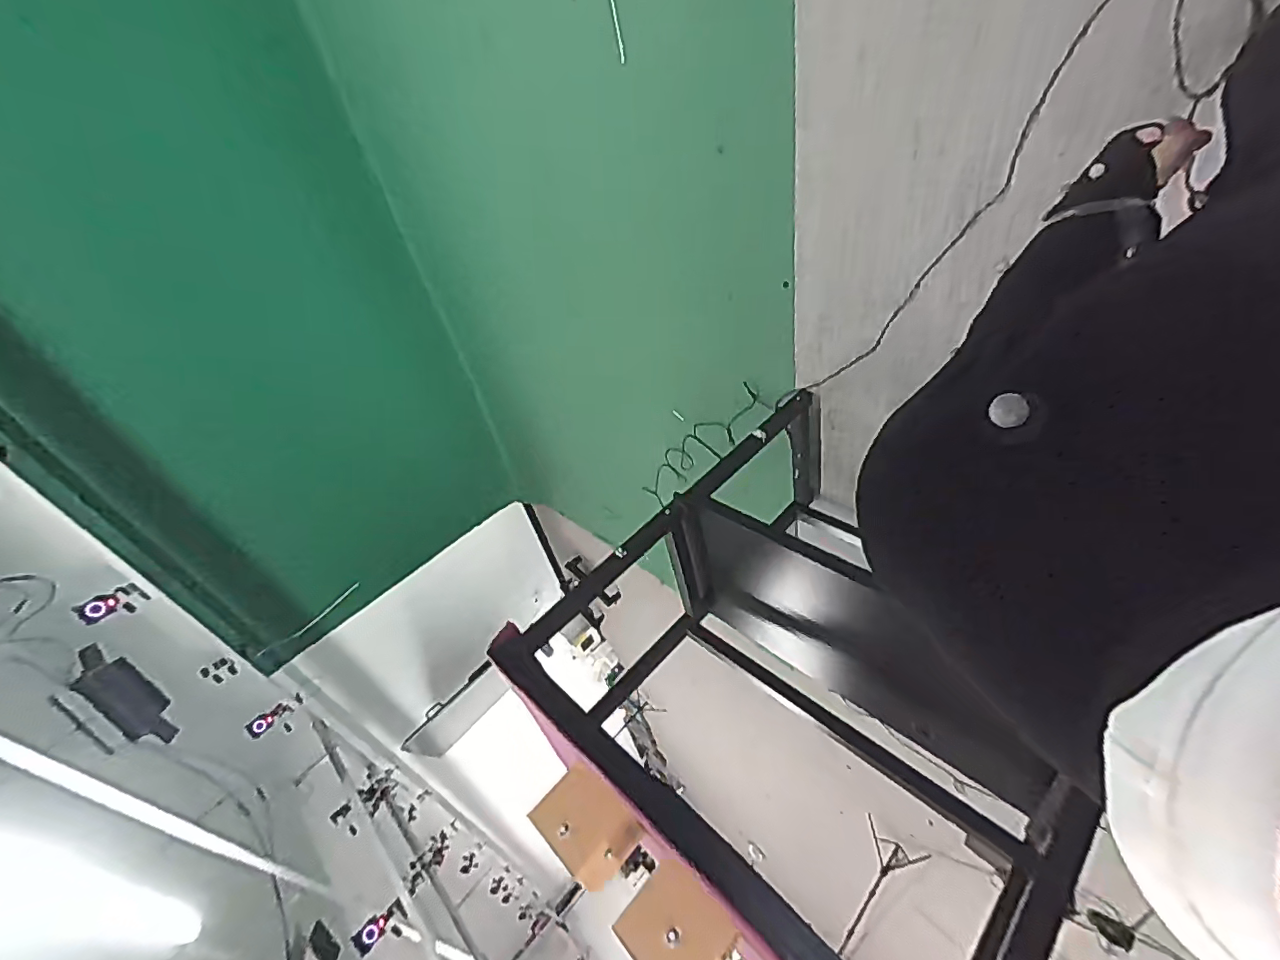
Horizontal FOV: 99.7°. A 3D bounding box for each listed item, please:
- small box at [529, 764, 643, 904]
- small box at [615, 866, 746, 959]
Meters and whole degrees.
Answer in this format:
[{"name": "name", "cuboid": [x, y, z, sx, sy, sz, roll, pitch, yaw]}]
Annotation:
[{"name": "small box", "cuboid": [-0.110, 0.781, 1.205, 0.179, 0.176, 0.168, 26, 144, 39]}, {"name": "small box", "cuboid": [0.082, 0.881, 1.035, 0.179, 0.176, 0.168, 28, 146, 36]}]
